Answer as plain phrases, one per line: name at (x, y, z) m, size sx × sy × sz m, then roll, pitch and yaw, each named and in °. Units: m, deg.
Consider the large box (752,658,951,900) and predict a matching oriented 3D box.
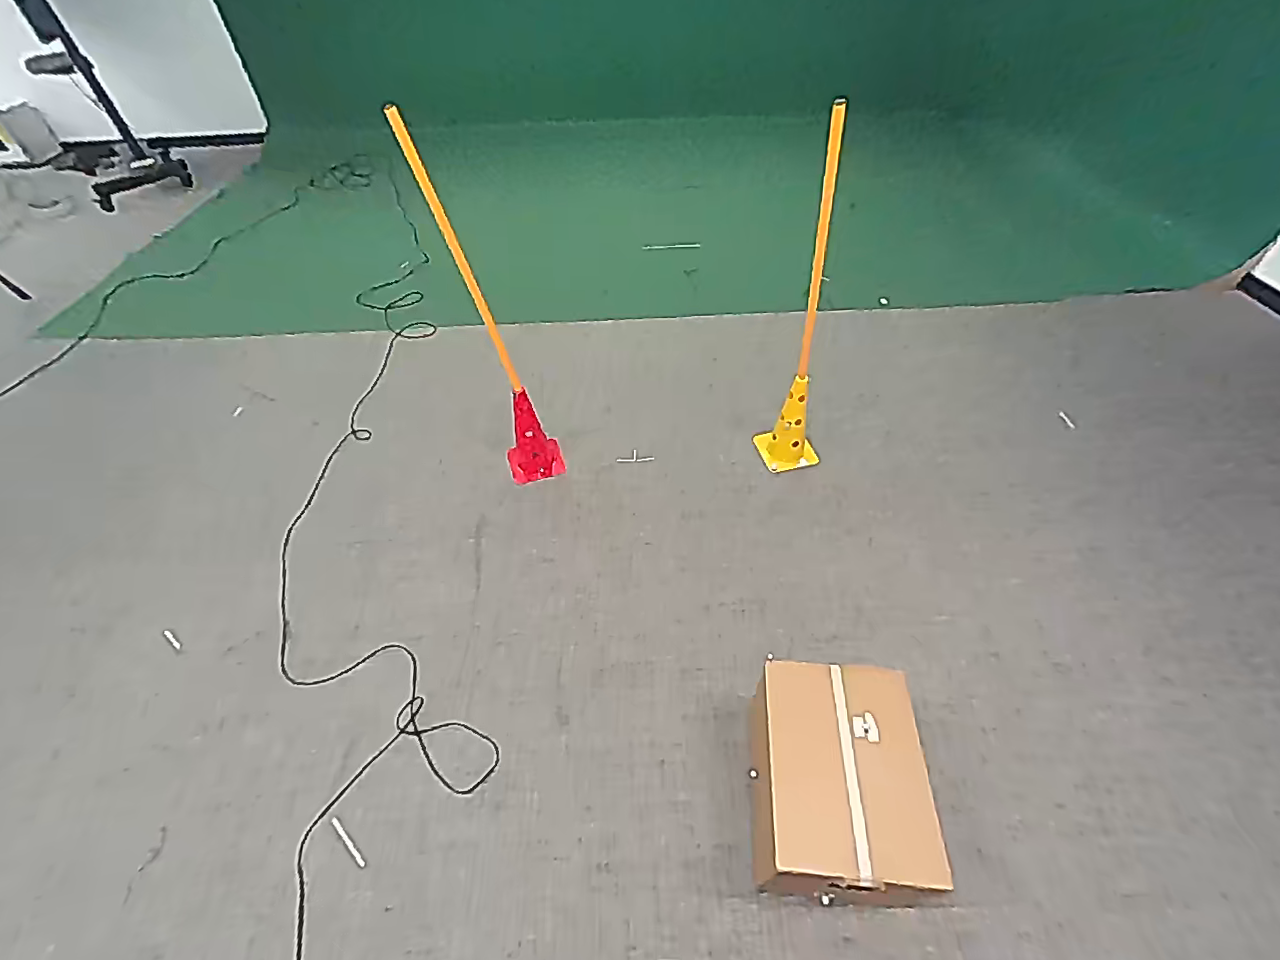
large box at (0.430, 0.667, 1.217) m, size 0.320 × 0.320 × 0.408 m, roll 3°, pitch 47°, yaw 5°
